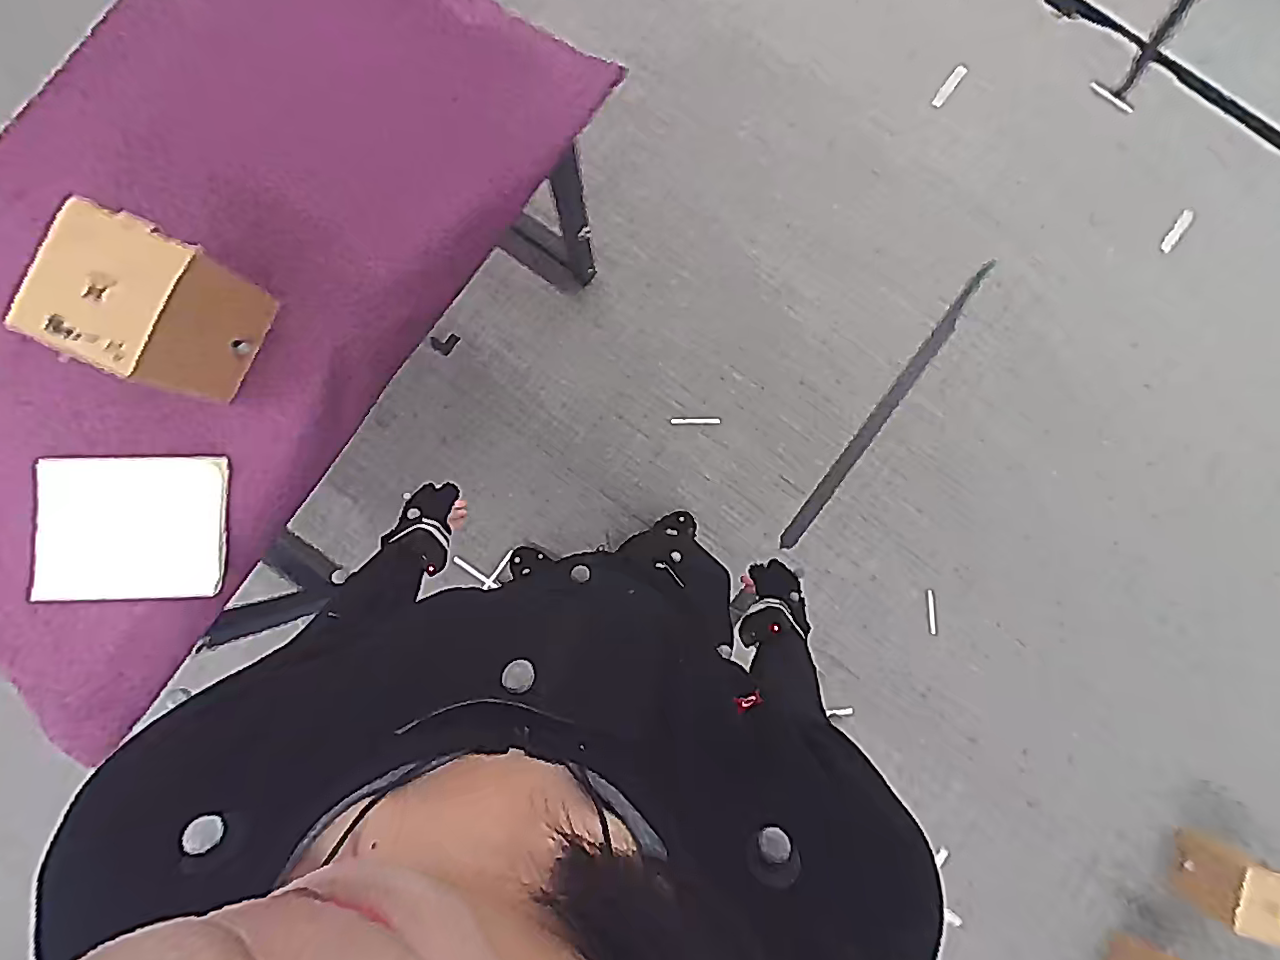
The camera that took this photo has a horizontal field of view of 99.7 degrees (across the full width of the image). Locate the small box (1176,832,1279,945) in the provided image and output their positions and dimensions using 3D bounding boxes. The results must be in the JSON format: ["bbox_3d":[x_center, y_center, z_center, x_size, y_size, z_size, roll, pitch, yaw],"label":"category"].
[{"bbox_3d":[1.571,1.058,1.403,0.179,0.176,0.168,17,86,1],"label":"small box"}]

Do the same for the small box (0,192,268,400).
[{"bbox_3d":[-0.645,-0.229,0.718,0.168,0.176,0.179,24,86,1],"label":"small box"}]
